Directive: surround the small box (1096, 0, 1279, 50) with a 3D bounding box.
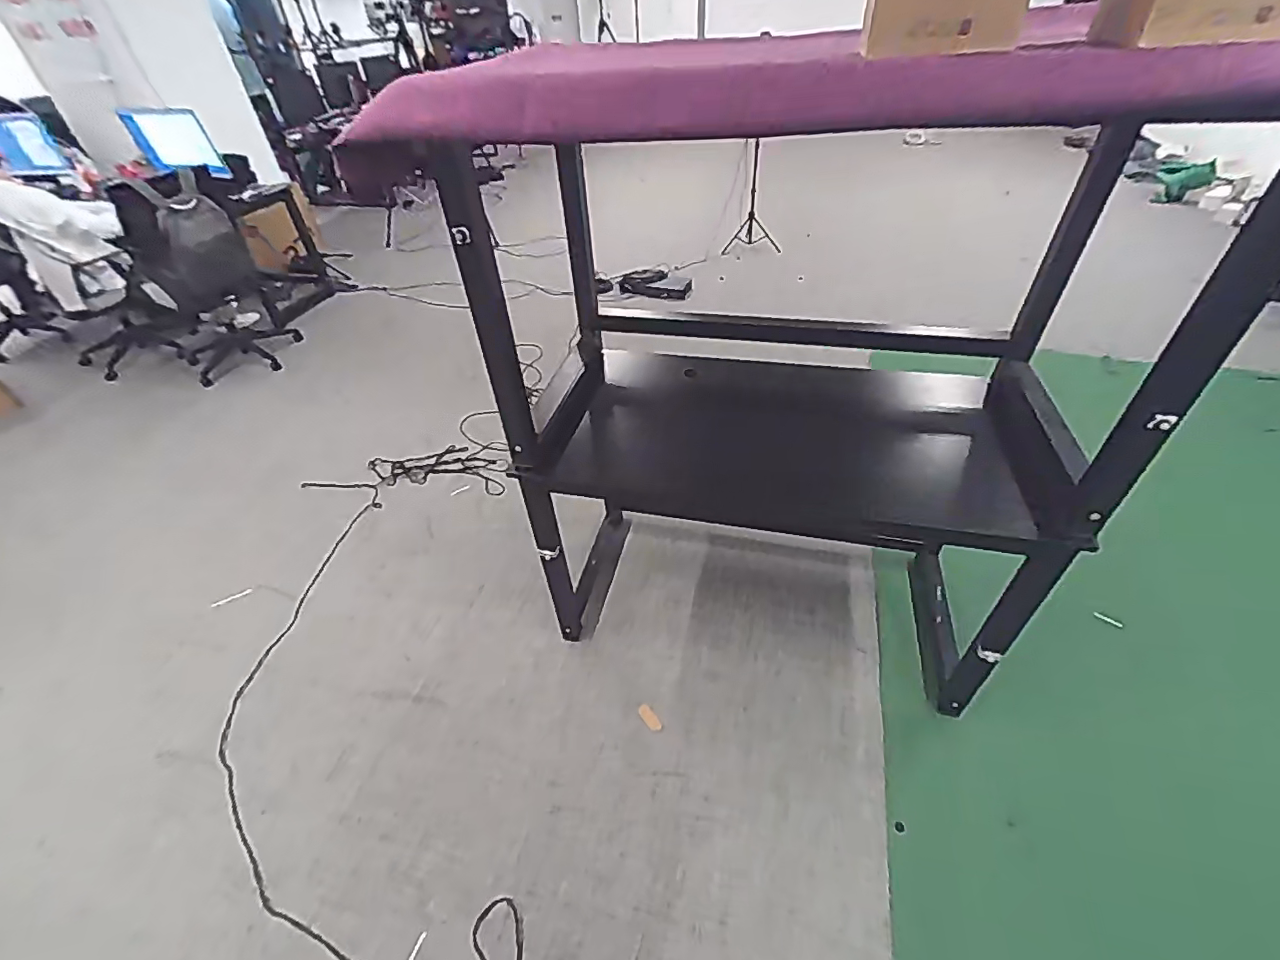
[{"bbox_3d":[0.649,-0.578,0.585,0.168,0.176,0.179,8,42,14],"label":"small box"}]

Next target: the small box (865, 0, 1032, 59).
[{"bbox_3d":[0.379,-0.620,0.654,0.168,0.176,0.179,9,41,13],"label":"small box"}]
